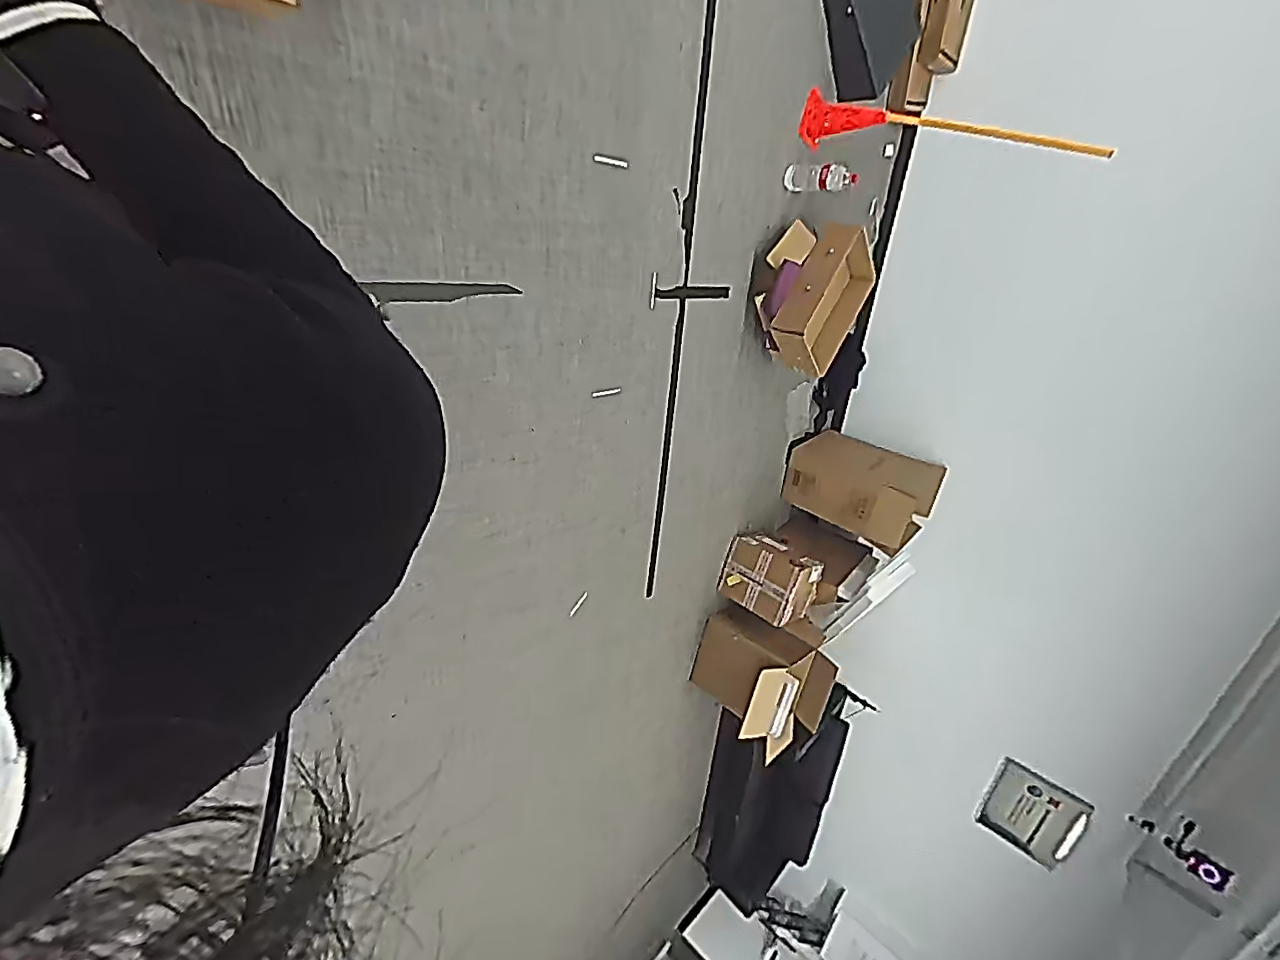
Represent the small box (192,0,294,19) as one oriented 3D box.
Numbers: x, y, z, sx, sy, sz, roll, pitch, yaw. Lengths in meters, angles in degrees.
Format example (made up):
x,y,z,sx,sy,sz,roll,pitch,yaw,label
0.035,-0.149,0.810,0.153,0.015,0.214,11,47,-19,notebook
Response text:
x,y,z,sx,sy,sz,roll,pitch,yaw,label
-0.740,-0.953,0.945,0.168,0.176,0.179,-21,125,-42,small box
